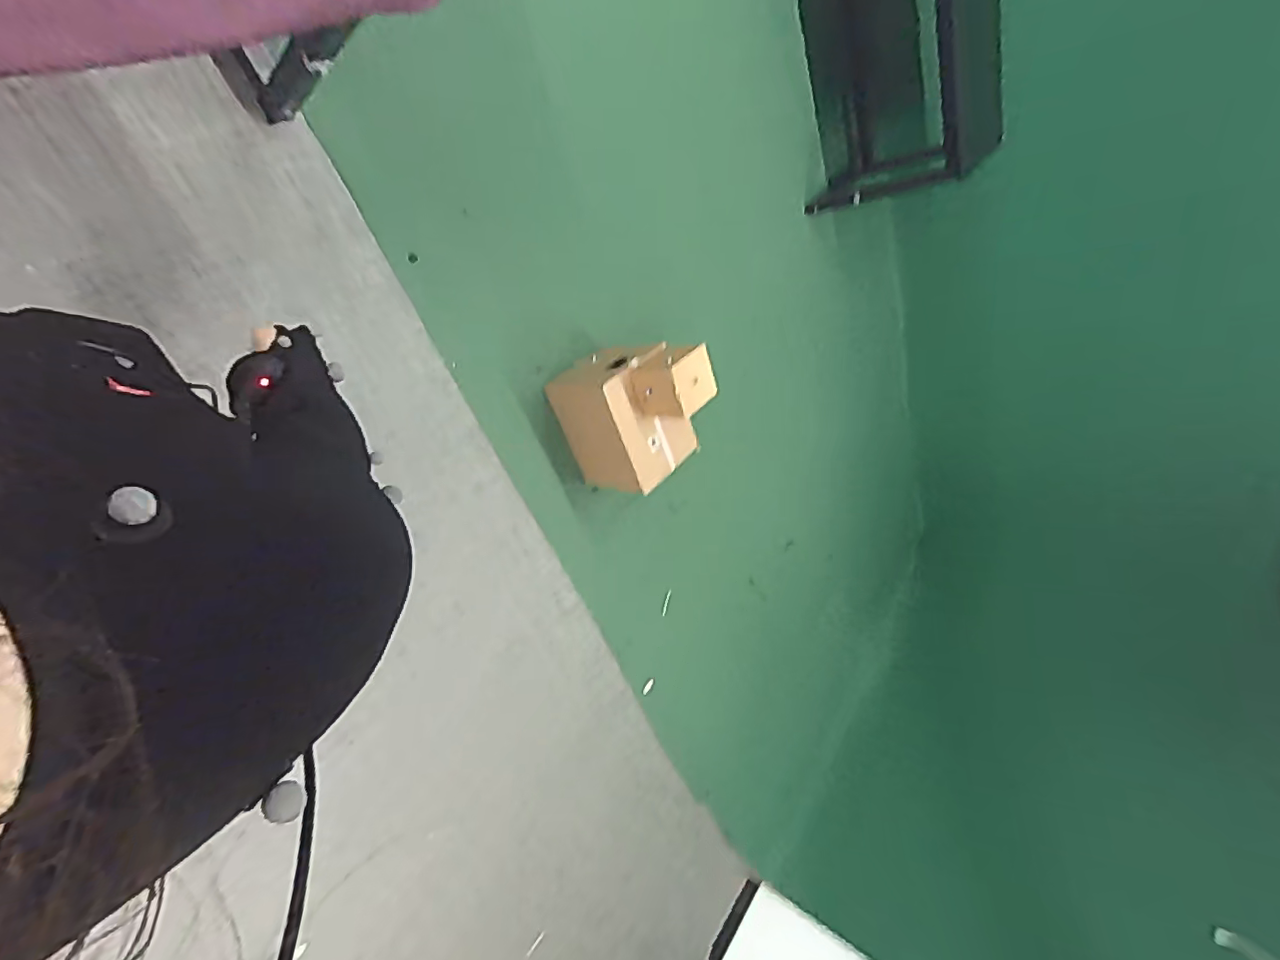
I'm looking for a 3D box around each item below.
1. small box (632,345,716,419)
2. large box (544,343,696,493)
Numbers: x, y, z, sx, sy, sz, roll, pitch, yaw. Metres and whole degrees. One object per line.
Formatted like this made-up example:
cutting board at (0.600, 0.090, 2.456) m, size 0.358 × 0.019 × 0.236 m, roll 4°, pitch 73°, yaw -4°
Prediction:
small box at (0.105, -0.304, 1.670) m, size 0.179 × 0.176 × 0.168 m, roll -42°, pitch 125°, yaw -33°
large box at (-0.063, -0.218, 1.863) m, size 0.320 × 0.320 × 0.408 m, roll -42°, pitch 125°, yaw -32°
